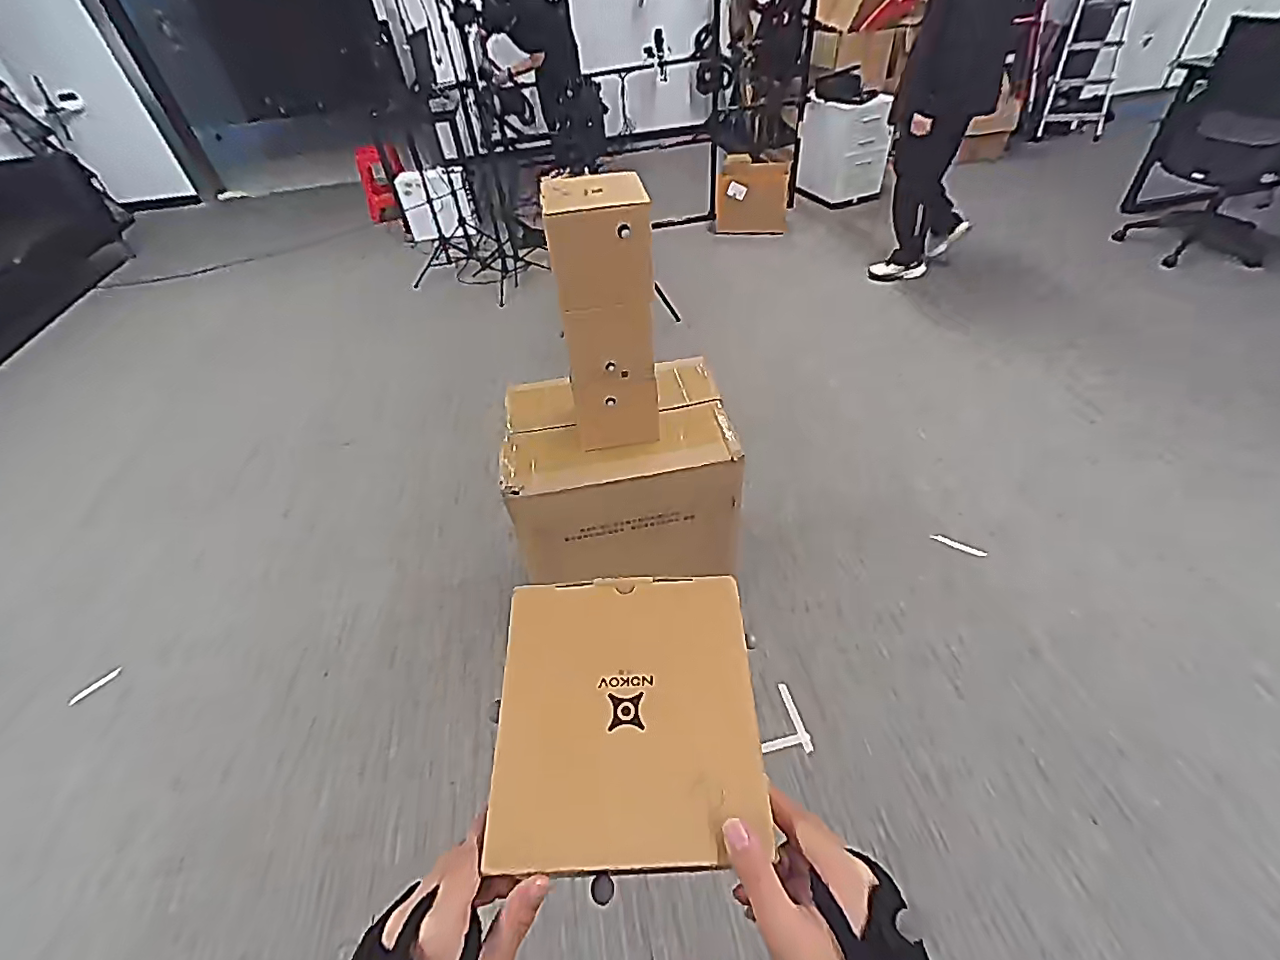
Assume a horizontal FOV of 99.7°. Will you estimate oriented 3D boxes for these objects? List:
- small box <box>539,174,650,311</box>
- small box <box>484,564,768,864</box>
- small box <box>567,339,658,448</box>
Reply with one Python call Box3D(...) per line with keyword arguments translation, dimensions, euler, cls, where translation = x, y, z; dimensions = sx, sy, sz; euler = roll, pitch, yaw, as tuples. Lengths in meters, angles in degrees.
Box3D(translation=(-0.079, -0.424, 0.970), dimensions=(0.179, 0.176, 0.168), euler=(-9, 45, -3), cls="small box")
Box3D(translation=(-0.005, 0.185, 0.415), dimensions=(0.168, 0.176, 0.179), euler=(-4, 52, 1), cls="small box")
Box3D(translation=(-0.060, -0.188, 1.199), dimensions=(0.179, 0.176, 0.168), euler=(-9, 44, -3), cls="small box")
